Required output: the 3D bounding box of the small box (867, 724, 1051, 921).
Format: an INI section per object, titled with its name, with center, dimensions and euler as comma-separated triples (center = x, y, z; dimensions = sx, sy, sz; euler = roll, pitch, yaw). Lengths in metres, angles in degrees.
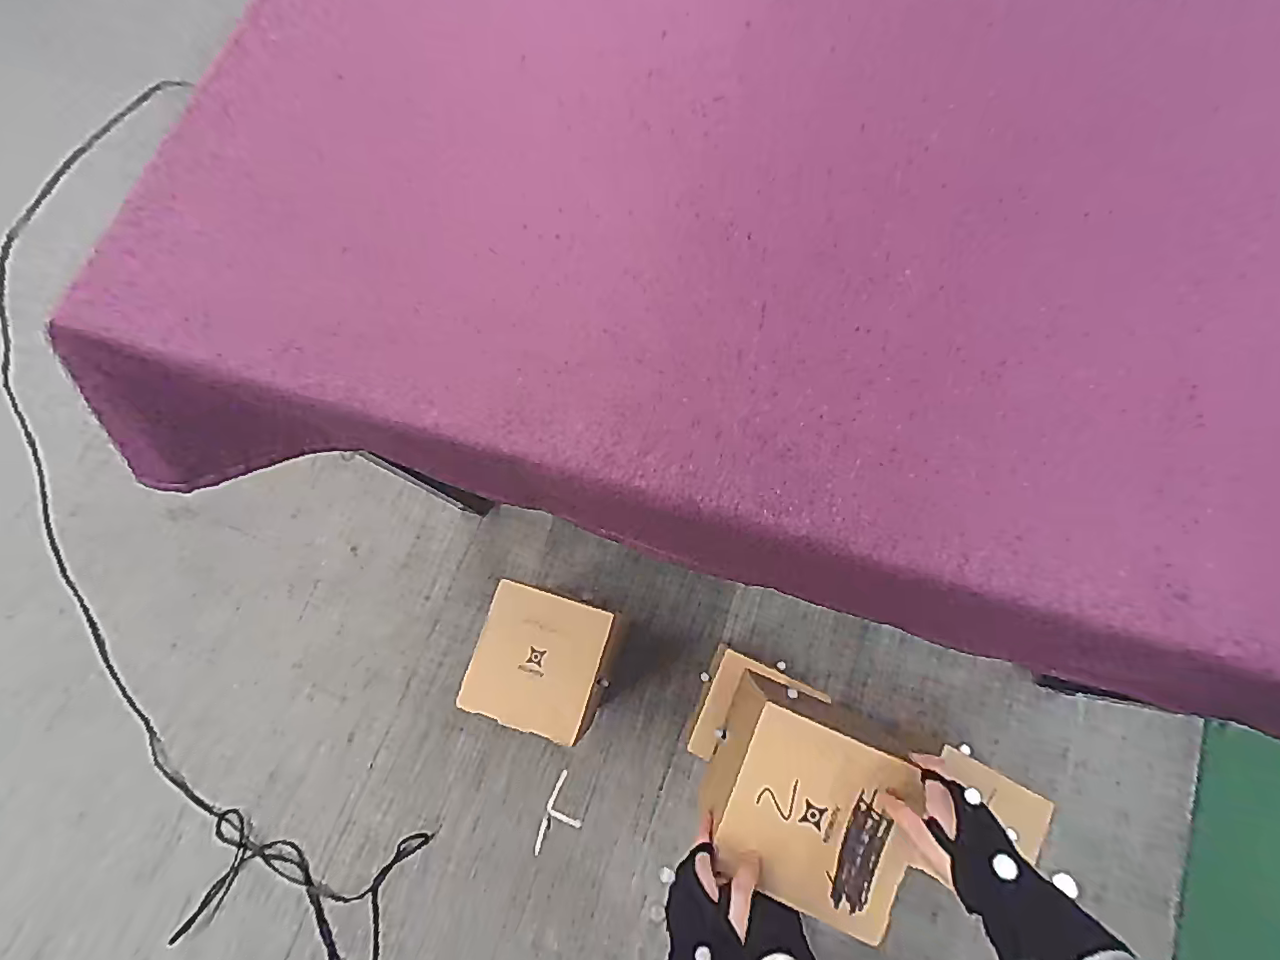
[small box]
center = 0.480, 0.514, 0.845
dimensions = 0.168, 0.176, 0.179
euler = 28, 78, 10
